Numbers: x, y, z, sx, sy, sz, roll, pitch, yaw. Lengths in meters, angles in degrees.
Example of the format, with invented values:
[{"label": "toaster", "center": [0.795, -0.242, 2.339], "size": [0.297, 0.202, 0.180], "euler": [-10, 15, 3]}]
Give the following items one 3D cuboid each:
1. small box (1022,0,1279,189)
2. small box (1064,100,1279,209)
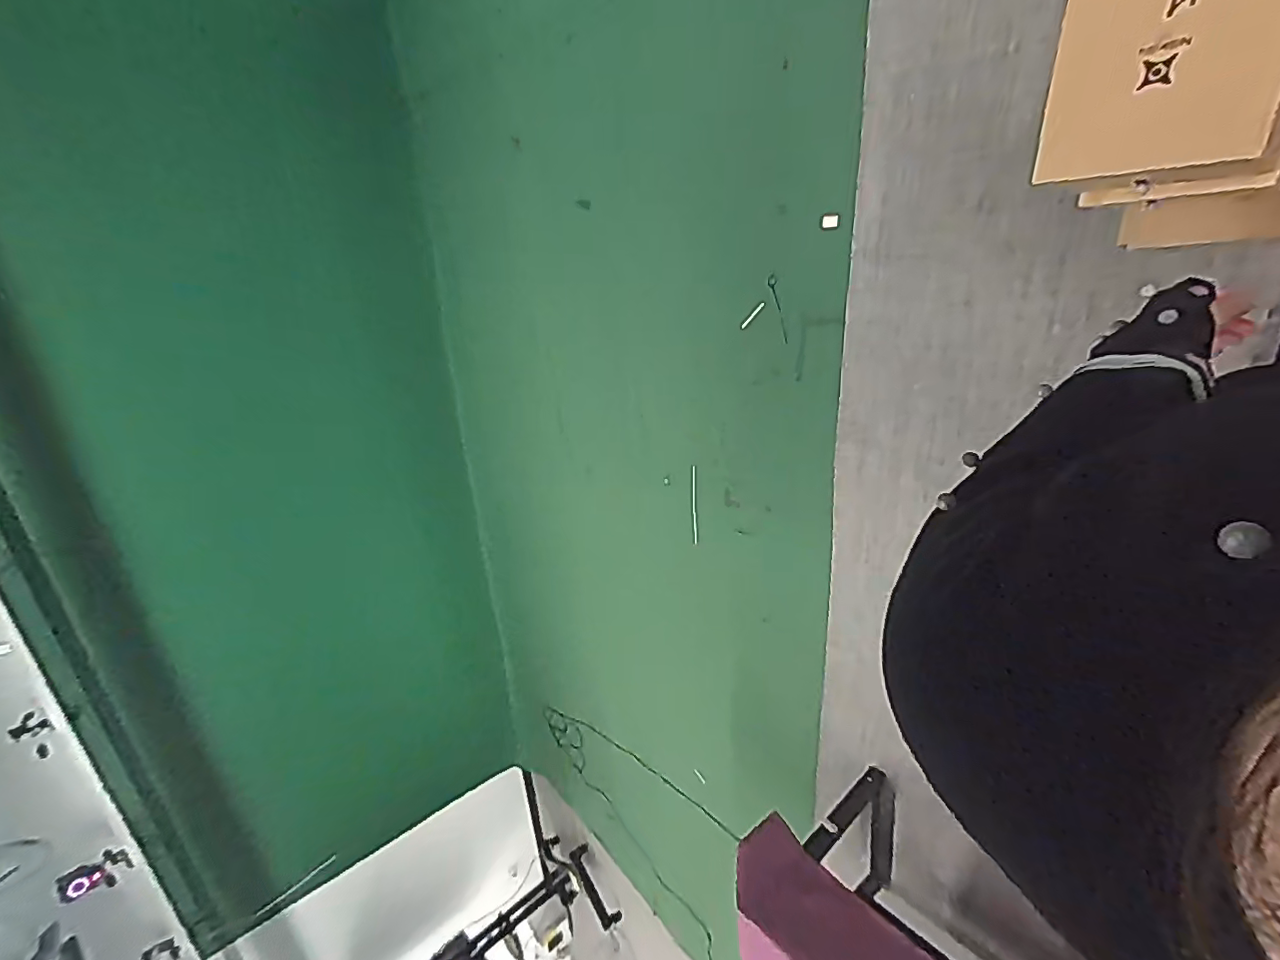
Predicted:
[{"label": "small box", "center": [0.515, -0.392, 0.533], "size": [0.168, 0.176, 0.179], "euler": [22, 122, 44]}, {"label": "small box", "center": [0.640, -0.424, 0.636], "size": [0.168, 0.176, 0.179], "euler": [20, 121, 45]}]
